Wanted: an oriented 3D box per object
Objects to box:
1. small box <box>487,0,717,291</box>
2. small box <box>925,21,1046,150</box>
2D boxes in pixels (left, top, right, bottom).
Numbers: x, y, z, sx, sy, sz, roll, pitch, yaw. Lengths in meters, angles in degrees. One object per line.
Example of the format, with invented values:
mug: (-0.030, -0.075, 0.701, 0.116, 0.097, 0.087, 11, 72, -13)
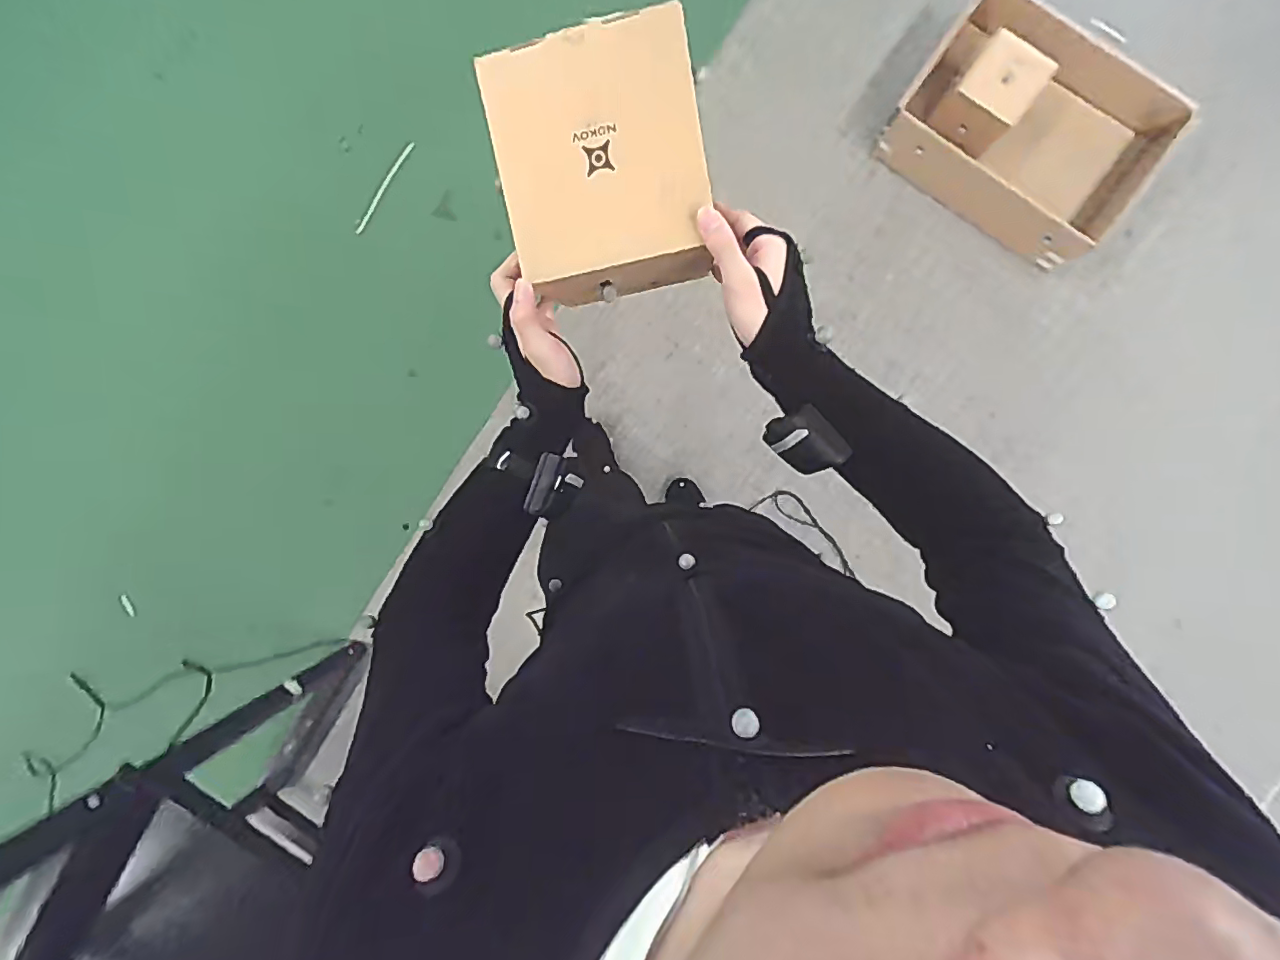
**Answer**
small box: (-0.021, -0.286, 0.513, 0.168, 0.176, 0.179, -9, 100, 7)
small box: (0.875, -1.005, 1.397, 0.168, 0.176, 0.179, 35, 95, 0)
